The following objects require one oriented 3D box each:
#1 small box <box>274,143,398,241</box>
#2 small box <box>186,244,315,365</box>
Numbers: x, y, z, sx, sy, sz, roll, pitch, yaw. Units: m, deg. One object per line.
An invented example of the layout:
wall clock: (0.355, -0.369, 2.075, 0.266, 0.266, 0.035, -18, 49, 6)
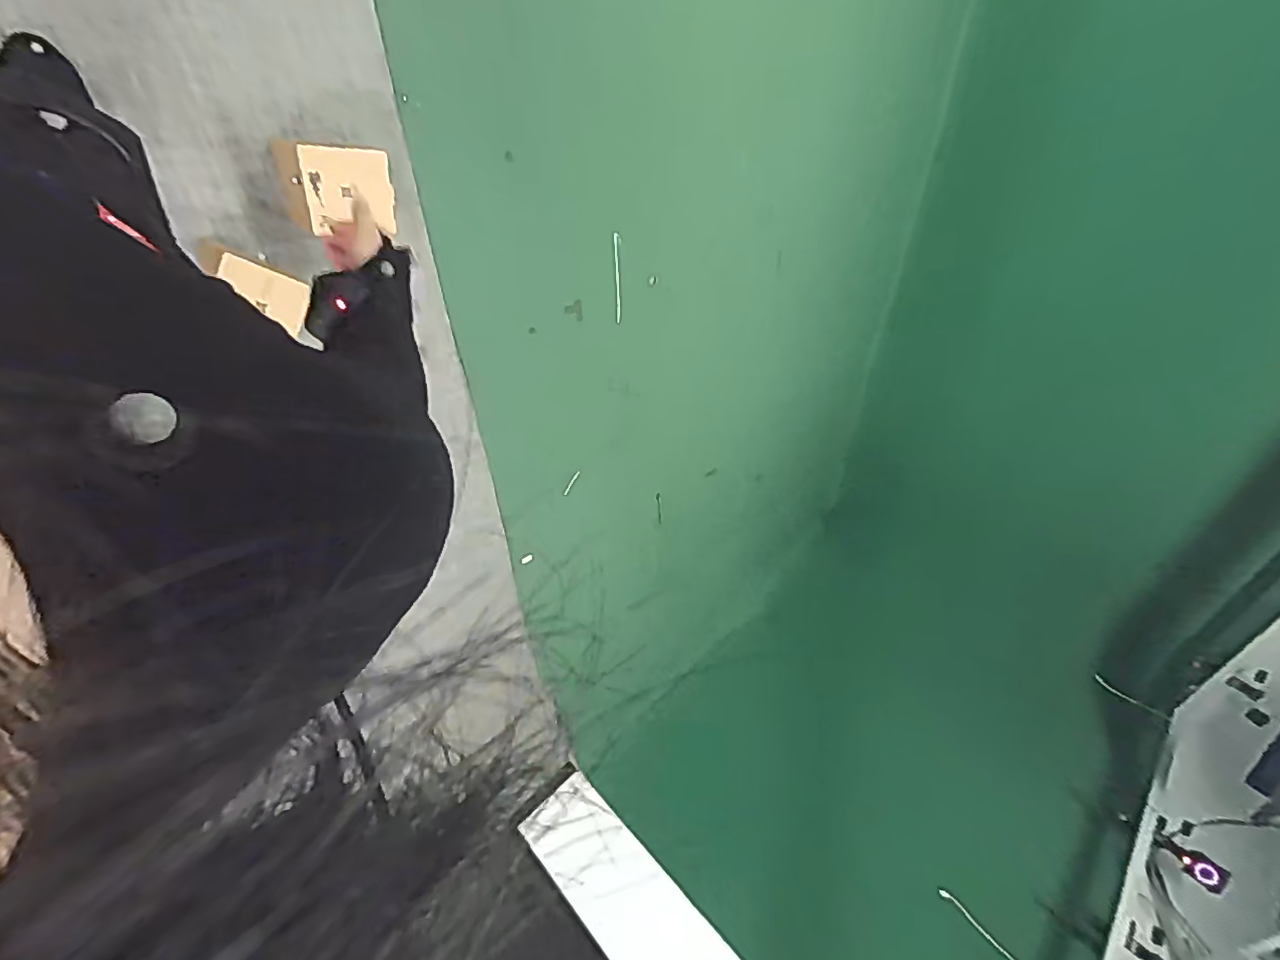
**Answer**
small box: (-0.655, -0.624, 1.174, 0.179, 0.176, 0.168, -23, 133, -39)
small box: (-0.833, -0.373, 1.151, 0.168, 0.176, 0.179, 15, 104, -54)
